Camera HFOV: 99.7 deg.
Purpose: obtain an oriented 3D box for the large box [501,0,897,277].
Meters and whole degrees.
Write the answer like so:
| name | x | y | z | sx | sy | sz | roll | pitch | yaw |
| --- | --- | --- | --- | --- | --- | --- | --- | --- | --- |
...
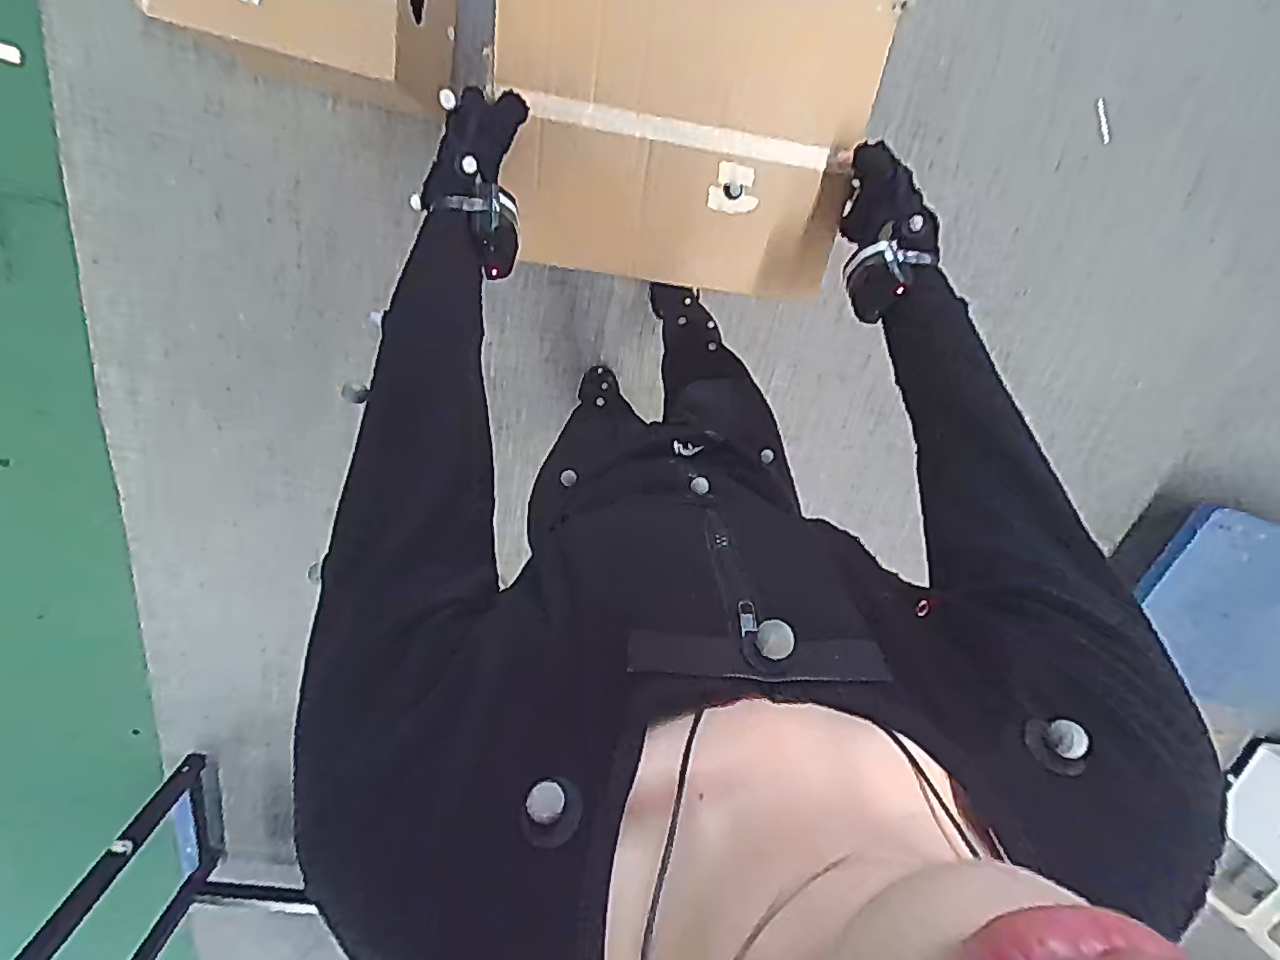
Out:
| name | x | y | z | sx | sy | sz | roll | pitch | yaw |
| --- | --- | --- | --- | --- | --- | --- | --- | --- | --- |
| large box | 0.037 | -0.475 | 0.716 | 0.408 | 0.320 | 0.320 | 5 | 119 | -10 |
